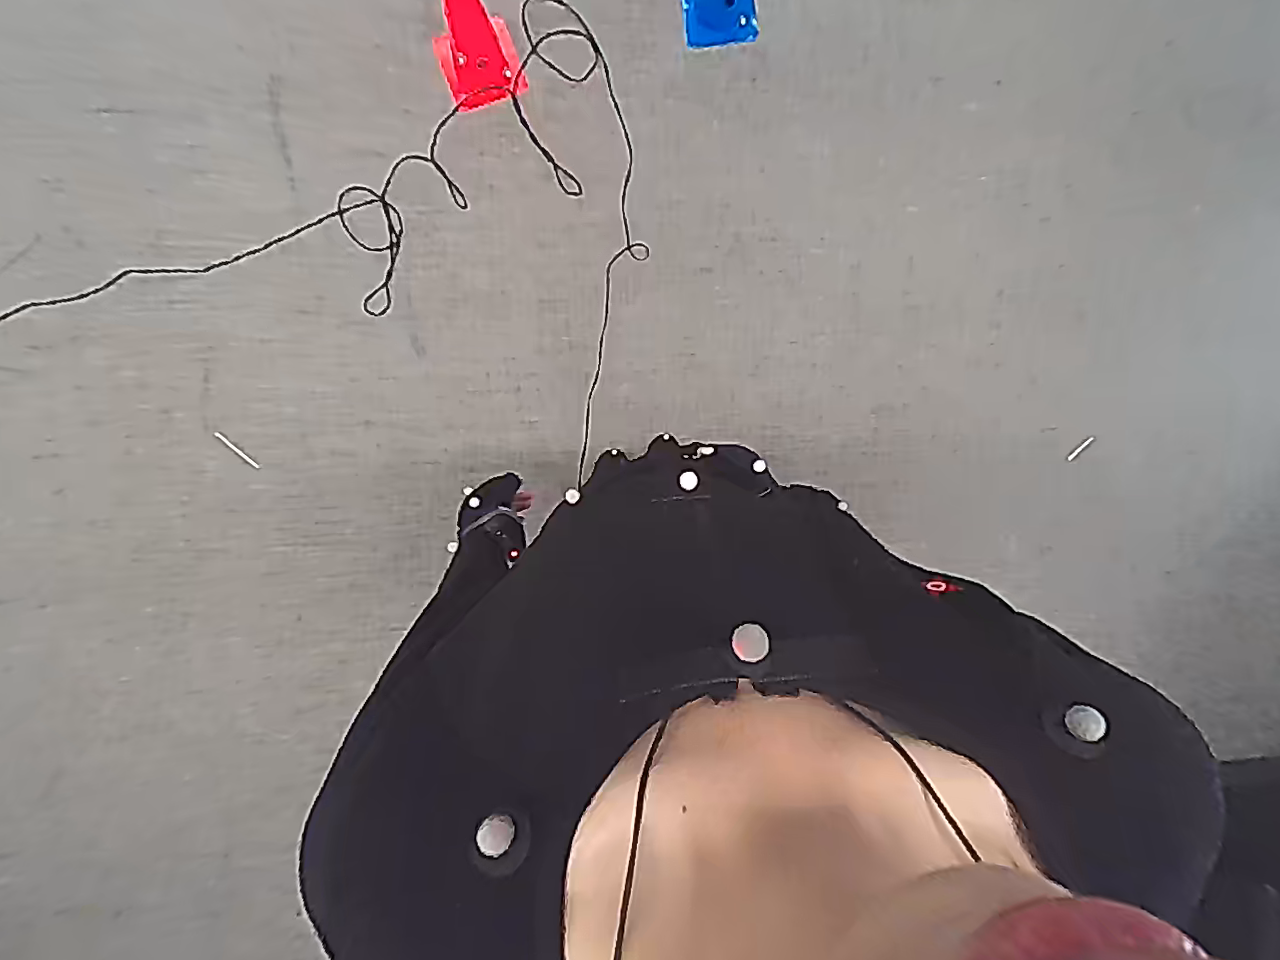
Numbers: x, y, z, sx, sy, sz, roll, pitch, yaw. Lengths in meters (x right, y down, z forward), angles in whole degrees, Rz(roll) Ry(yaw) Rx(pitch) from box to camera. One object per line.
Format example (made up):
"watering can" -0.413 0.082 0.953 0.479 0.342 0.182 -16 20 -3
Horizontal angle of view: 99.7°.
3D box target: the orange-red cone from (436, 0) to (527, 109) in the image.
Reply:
"orange-red cone" -0.403 -1.086 1.248 0.198 0.360 0.199 -21 93 -4
